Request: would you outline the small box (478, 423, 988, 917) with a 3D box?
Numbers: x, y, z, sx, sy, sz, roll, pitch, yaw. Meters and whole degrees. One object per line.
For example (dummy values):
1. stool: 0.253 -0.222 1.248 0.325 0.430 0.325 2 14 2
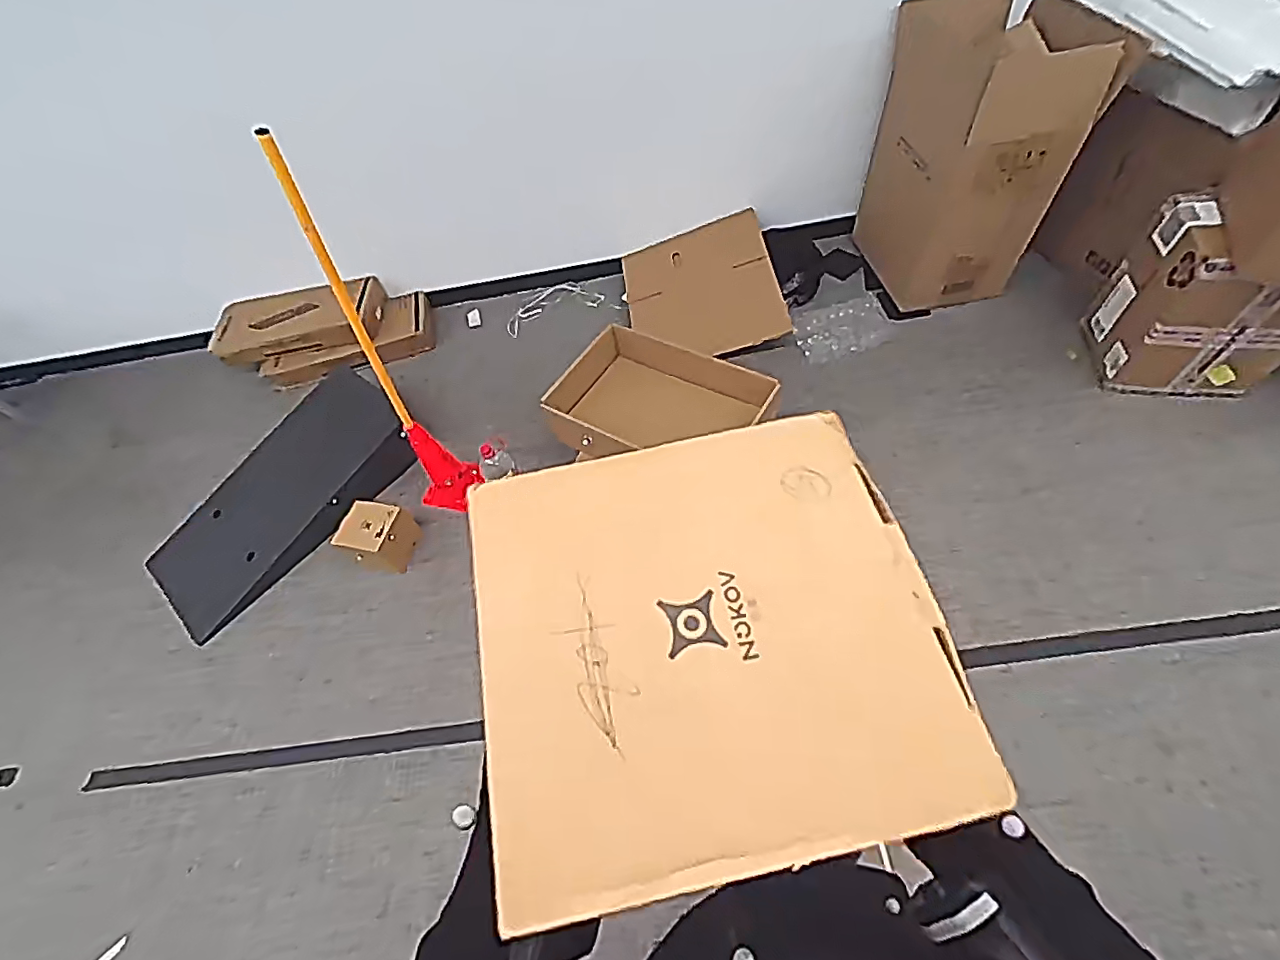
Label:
1. small box: 0.029 0.098 0.295 0.179 0.176 0.168 -14 61 -2
